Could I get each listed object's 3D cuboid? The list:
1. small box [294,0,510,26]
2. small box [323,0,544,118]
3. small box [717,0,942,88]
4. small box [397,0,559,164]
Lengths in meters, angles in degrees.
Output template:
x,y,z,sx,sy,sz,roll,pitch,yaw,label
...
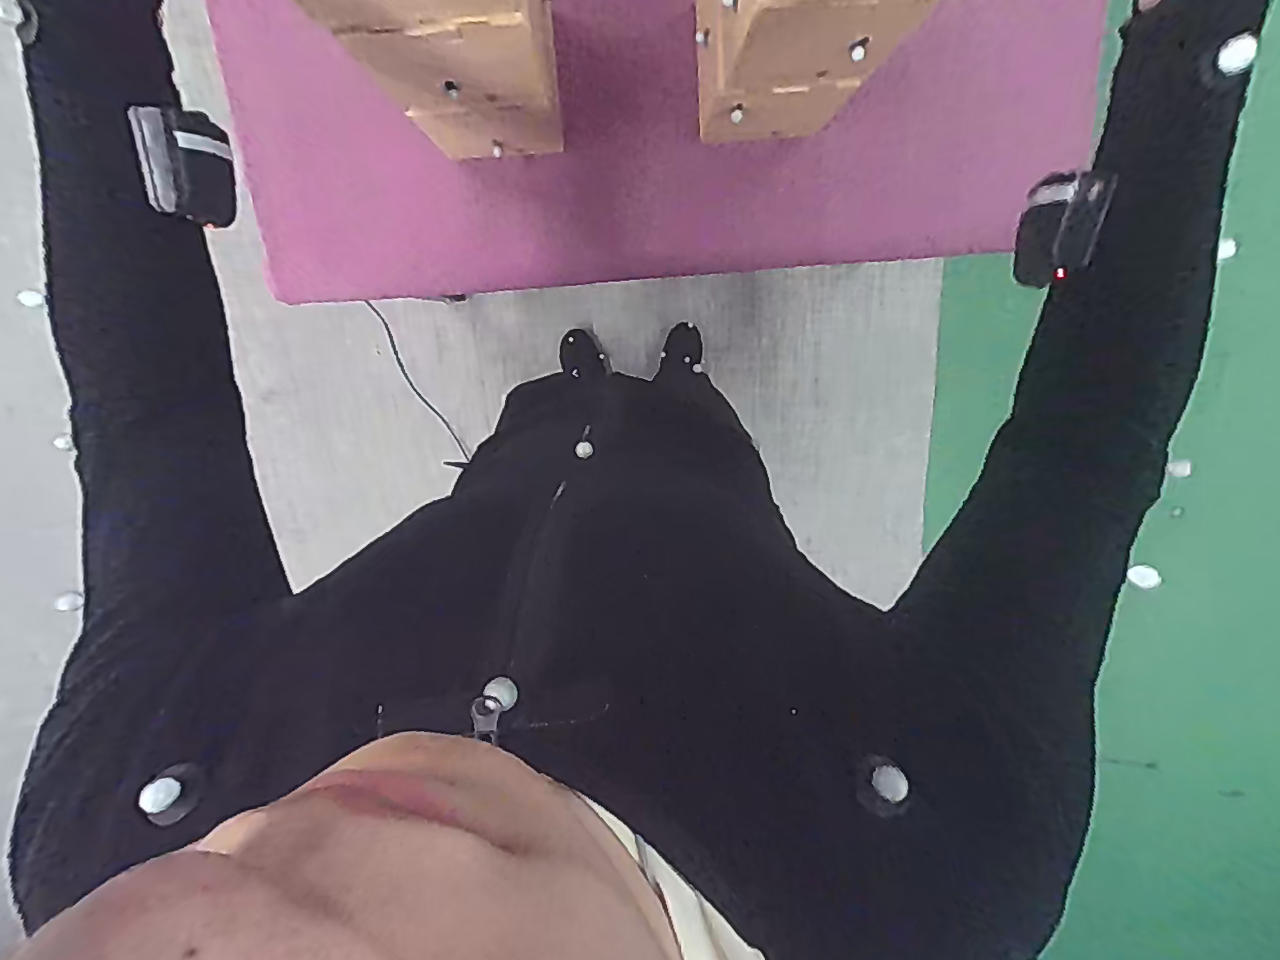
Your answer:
x,y,z,sx,sy,sz,roll,pitch,yaw,label
-0.187,-0.432,0.345,0.179,0.176,0.168,-6,105,-1,small box
-0.190,-0.473,0.504,0.168,0.176,0.179,-6,106,-1,small box
0.169,-0.500,0.509,0.168,0.176,0.179,-5,105,-1,small box
-0.195,-0.513,0.662,0.168,0.176,0.179,-4,106,0,small box
